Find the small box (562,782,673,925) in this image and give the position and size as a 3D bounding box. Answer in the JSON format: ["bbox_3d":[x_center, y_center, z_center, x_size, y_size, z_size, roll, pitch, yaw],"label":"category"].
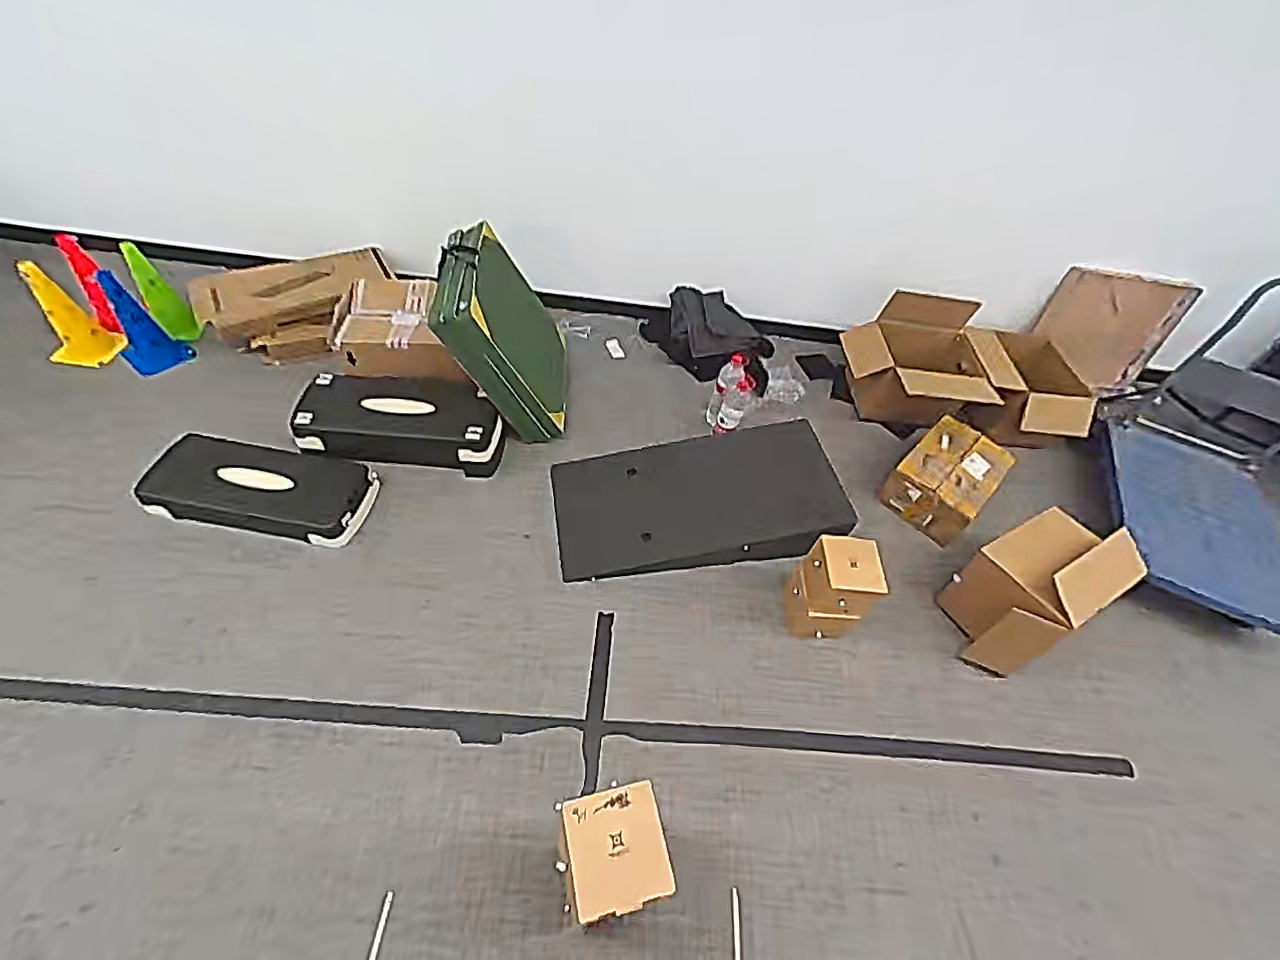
[{"bbox_3d":[-0.049,0.679,0.988,0.168,0.176,0.179,-6,53,-14],"label":"small box"}]
